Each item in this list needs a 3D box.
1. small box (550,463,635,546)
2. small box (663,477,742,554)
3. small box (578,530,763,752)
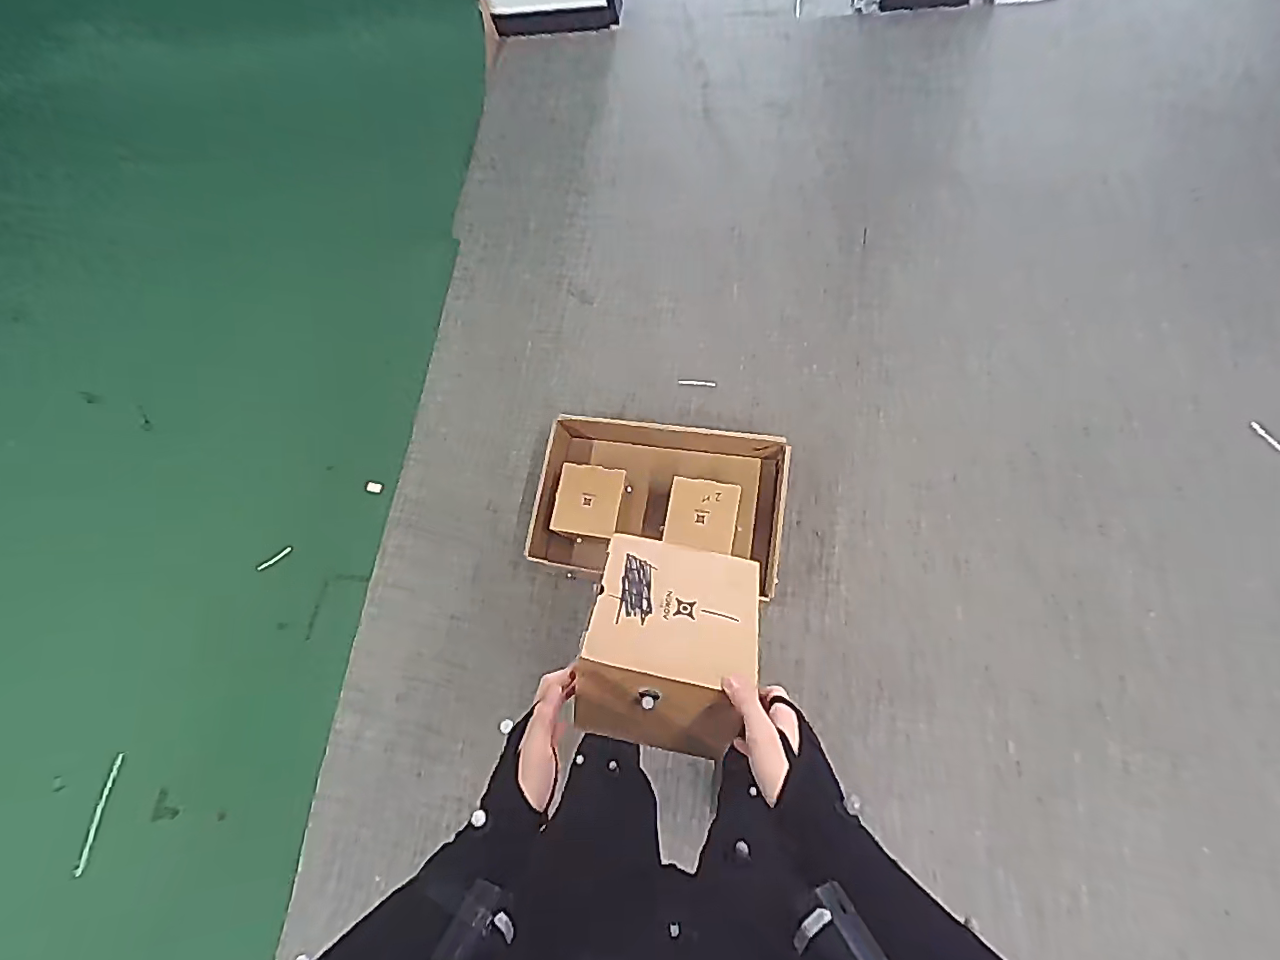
[{"bbox_3d":[-0.115,0.071,1.403,0.168,0.176,0.179,8,75,11],"label":"small box"},{"bbox_3d":[0.160,0.107,1.348,0.168,0.176,0.179,9,76,12],"label":"small box"},{"bbox_3d":[0.032,0.187,0.621,0.179,0.176,0.168,13,44,3],"label":"small box"}]
